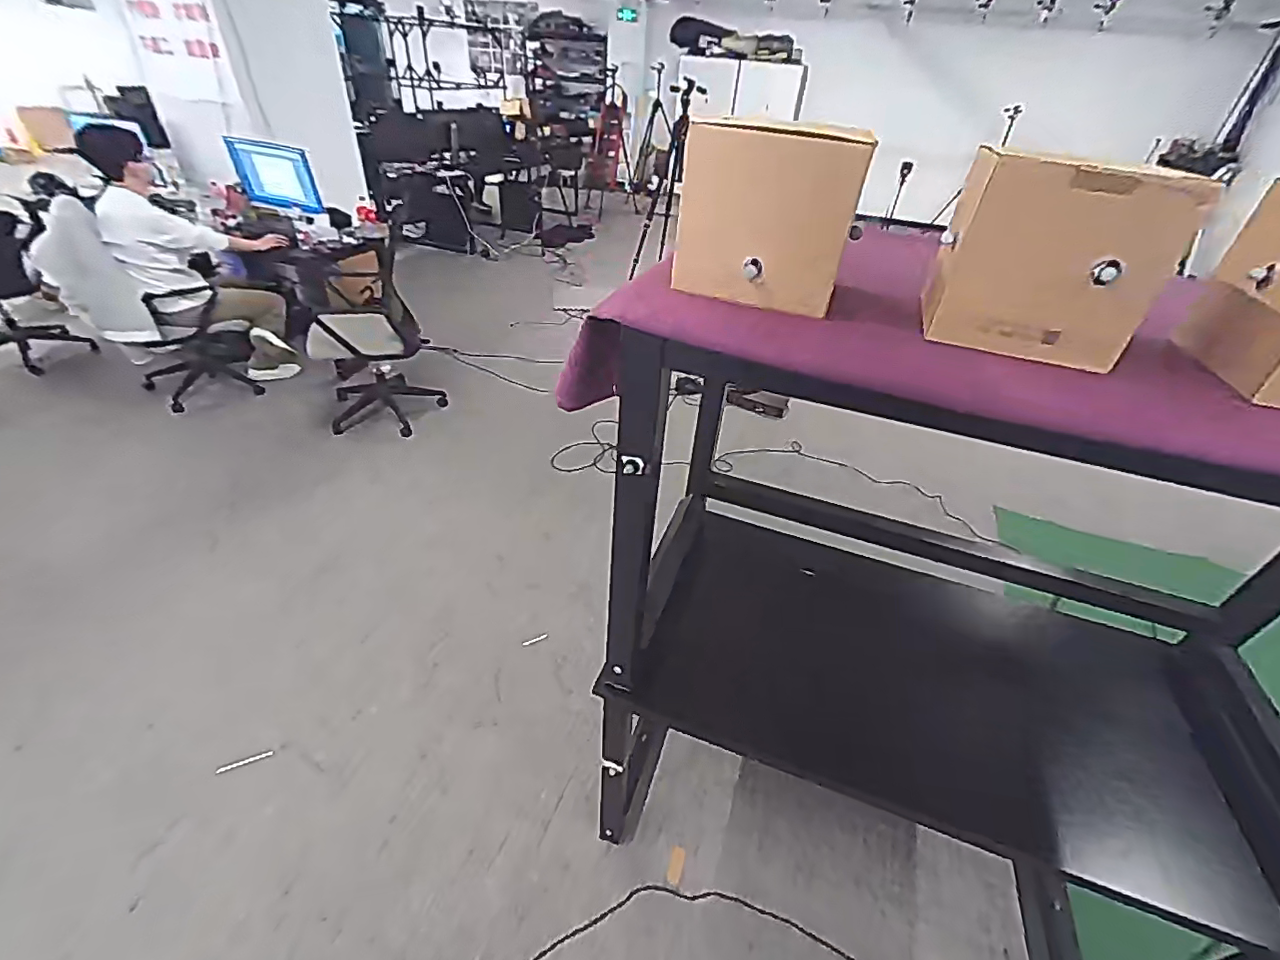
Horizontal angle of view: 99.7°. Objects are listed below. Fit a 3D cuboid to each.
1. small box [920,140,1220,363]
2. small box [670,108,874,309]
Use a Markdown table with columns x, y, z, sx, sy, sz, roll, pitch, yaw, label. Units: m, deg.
| x | y | z | sx | sy | sz | roll | pitch | yaw | label |
| --- | --- | --- | --- | --- | --- | --- | --- | --- | --- |
| 0.403 | -0.236 | 0.551 | 0.168 | 0.176 | 0.179 | 17 | 37 | 15 | small box |
| 0.145 | -0.307 | 0.611 | 0.179 | 0.176 | 0.168 | 15 | 37 | 11 | small box |
